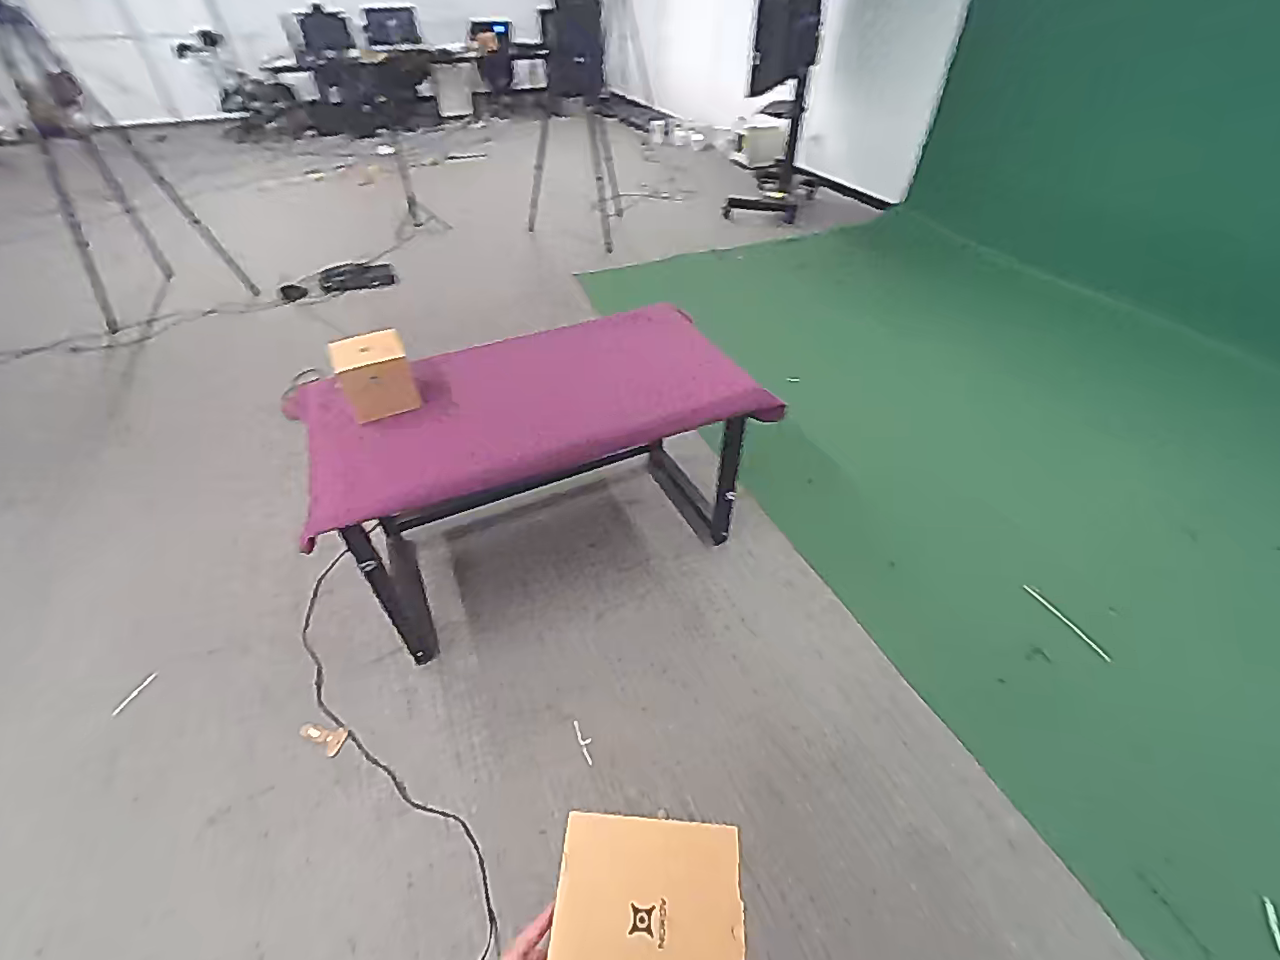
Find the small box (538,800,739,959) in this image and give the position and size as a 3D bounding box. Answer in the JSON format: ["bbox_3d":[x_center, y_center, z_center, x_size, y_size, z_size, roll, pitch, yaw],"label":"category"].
[{"bbox_3d":[0.003,0.446,0.549,0.179,0.176,0.168,3,45,4],"label":"small box"}]

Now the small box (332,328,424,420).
[{"bbox_3d":[-0.719,-0.290,1.490,0.179,0.176,0.168,-20,48,-20],"label":"small box"}]
